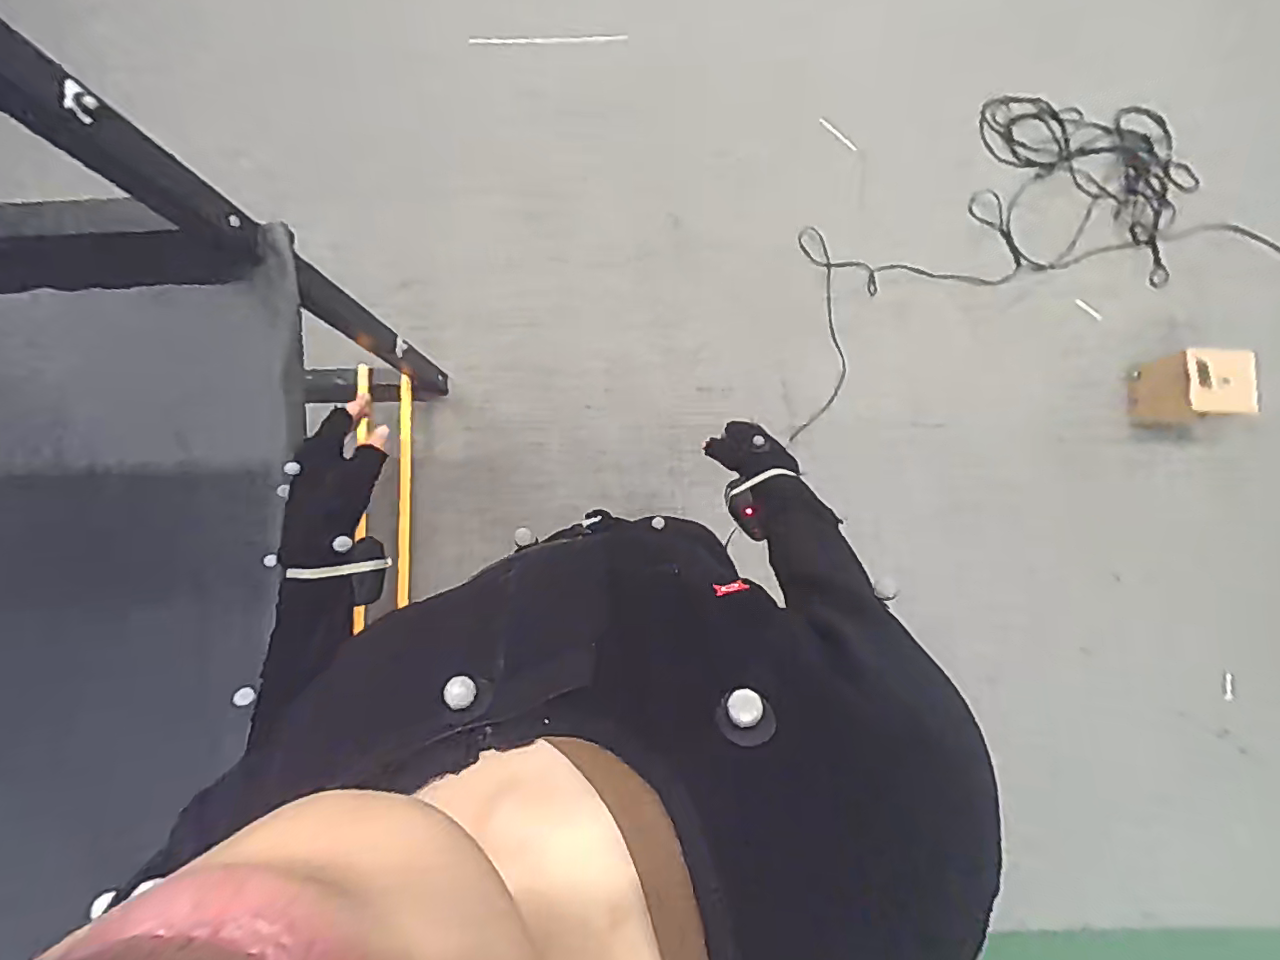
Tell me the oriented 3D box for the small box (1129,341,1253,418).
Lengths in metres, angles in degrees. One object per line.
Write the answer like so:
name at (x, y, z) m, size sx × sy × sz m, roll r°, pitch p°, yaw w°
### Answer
small box at (1.467, -0.265, 1.455) m, size 0.179 × 0.176 × 0.168 m, roll 2°, pitch 85°, yaw 0°
